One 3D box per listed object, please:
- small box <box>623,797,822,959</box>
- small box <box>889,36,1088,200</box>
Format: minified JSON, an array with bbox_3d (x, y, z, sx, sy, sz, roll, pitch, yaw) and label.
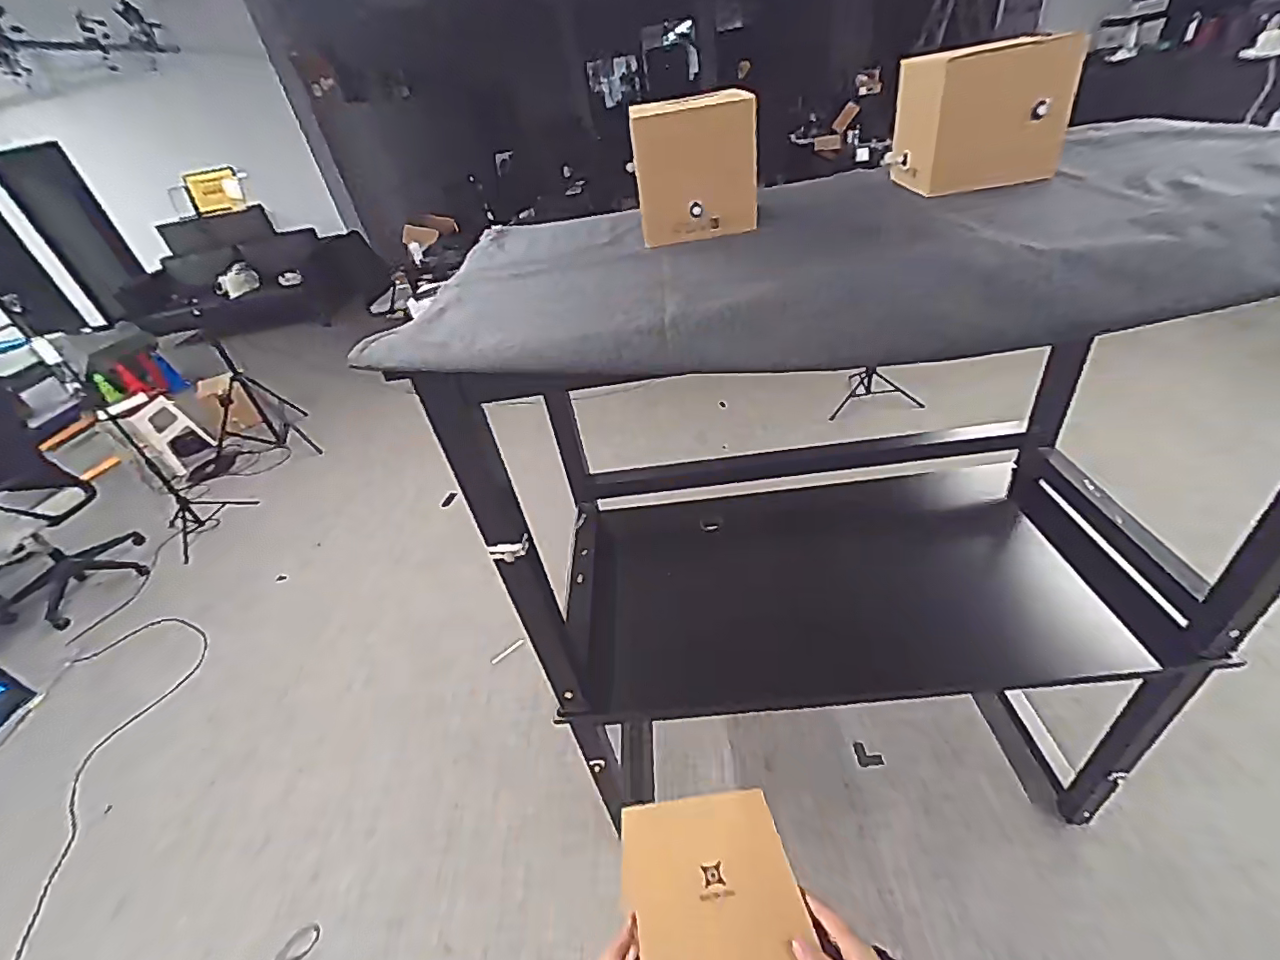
[{"bbox_3d":[0.072,0.480,0.571,0.168,0.176,0.179,-3,26,-9],"label":"small box"},{"bbox_3d":[0.491,-0.528,0.795,0.179,0.176,0.168,-6,36,6],"label":"small box"}]
